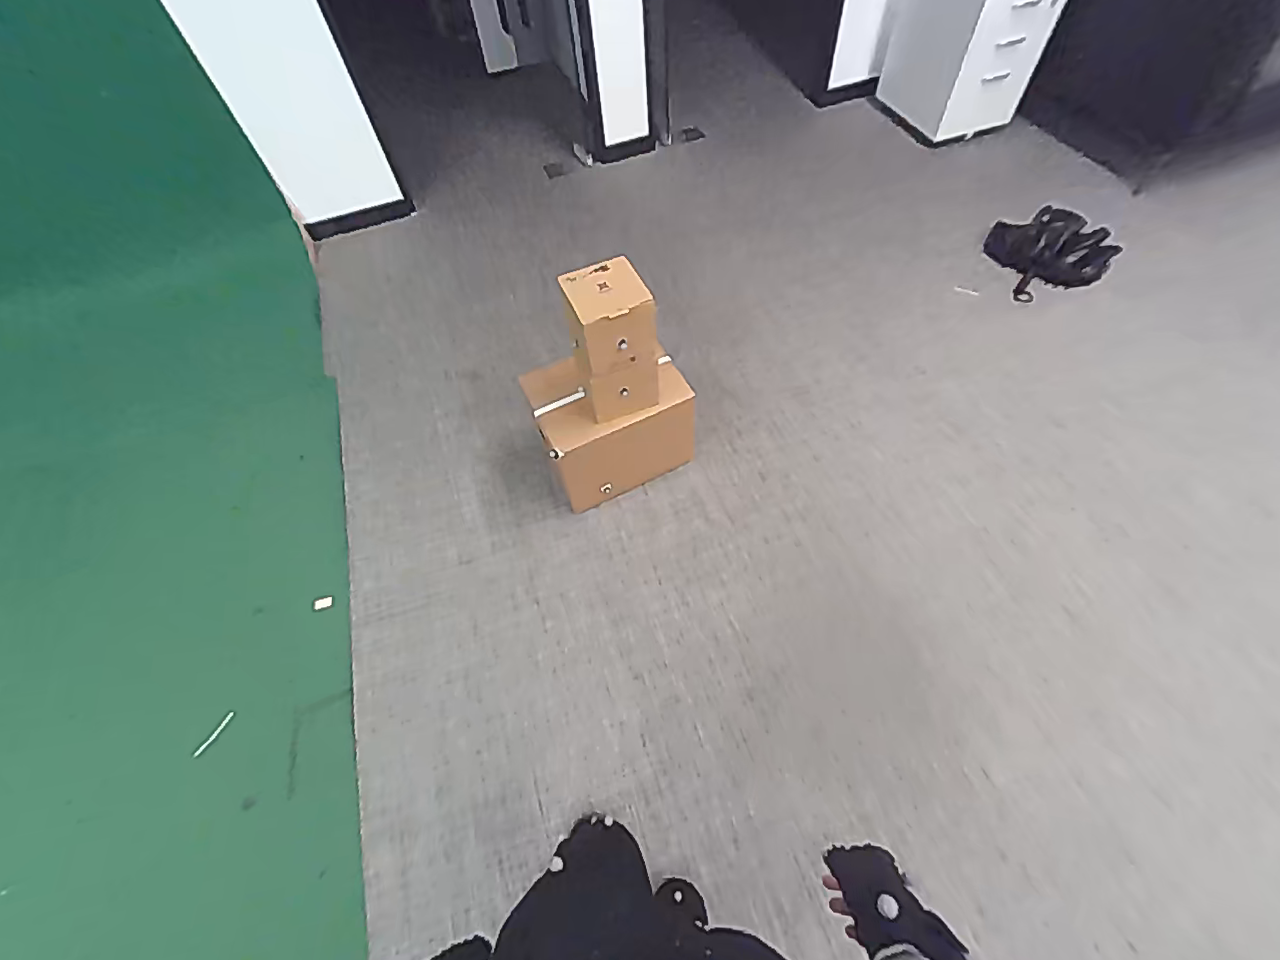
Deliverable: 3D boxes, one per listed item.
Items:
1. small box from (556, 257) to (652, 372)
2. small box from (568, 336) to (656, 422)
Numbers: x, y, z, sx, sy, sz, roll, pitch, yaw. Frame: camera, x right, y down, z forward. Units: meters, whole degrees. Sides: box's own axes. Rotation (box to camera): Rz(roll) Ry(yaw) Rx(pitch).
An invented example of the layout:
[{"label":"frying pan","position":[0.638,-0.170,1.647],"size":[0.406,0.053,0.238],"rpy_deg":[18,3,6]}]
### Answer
[{"label":"small box","position":[-0.077,-0.372,1.243],"size":[0.168,0.176,0.179],"rpy_deg":[-21,60,-9]},{"label":"small box","position":[-0.067,-0.279,1.377],"size":[0.179,0.176,0.168],"rpy_deg":[-20,59,-8]}]
